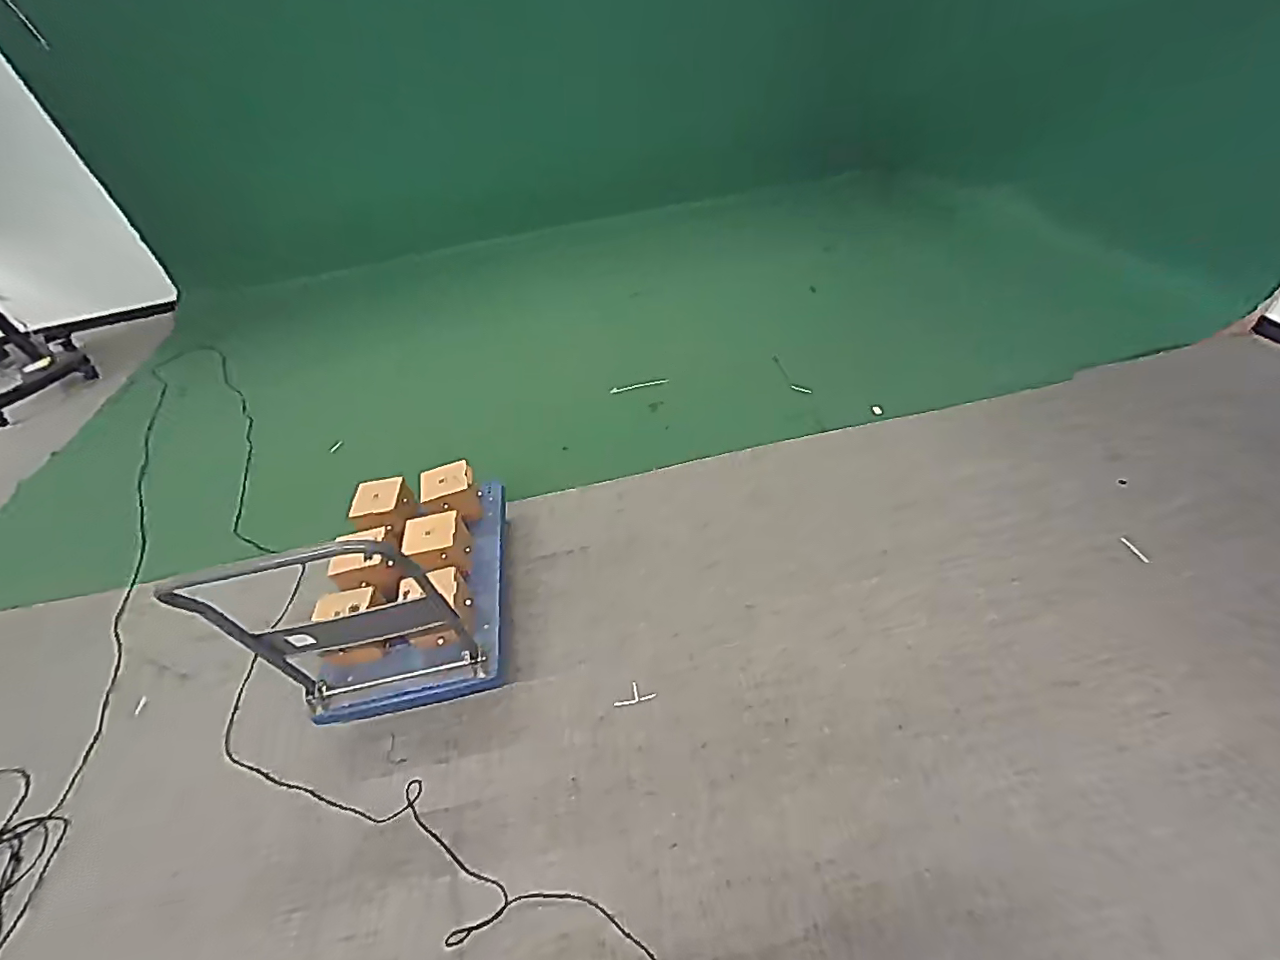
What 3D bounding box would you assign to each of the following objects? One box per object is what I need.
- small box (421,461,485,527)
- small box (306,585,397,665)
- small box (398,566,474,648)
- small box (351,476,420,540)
[{"bbox_3d":[-0.703,0.056,2.044,0.179,0.176,0.168,-11,47,-2],"label":"small box"},{"bbox_3d":[-0.887,0.455,1.684,0.179,0.176,0.168,-11,44,0],"label":"small box"},{"bbox_3d":[-0.630,0.399,1.692,0.179,0.176,0.168,-13,45,-4],"label":"small box"},{"bbox_3d":[-0.949,0.112,2.038,0.168,0.176,0.179,-9,45,0],"label":"small box"}]
